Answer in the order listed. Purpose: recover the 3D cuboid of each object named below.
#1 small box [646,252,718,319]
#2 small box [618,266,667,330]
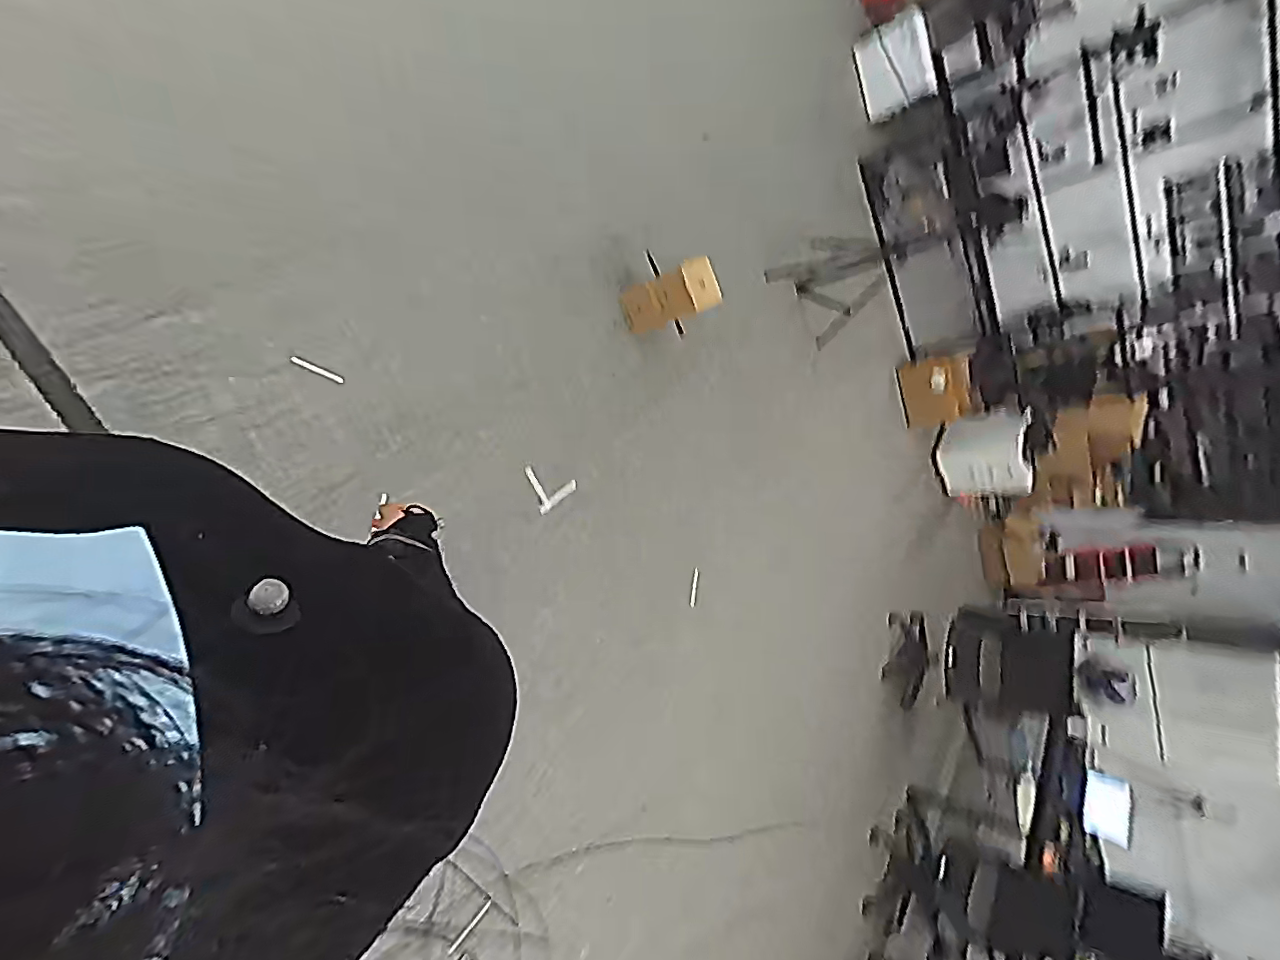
[{"bbox_3d":[0.154,-0.717,1.997,0.179,0.176,0.168,-40,113,-37],"label":"small box"},{"bbox_3d":[0.035,-0.706,2.109,0.179,0.176,0.168,-43,115,-38],"label":"small box"}]
